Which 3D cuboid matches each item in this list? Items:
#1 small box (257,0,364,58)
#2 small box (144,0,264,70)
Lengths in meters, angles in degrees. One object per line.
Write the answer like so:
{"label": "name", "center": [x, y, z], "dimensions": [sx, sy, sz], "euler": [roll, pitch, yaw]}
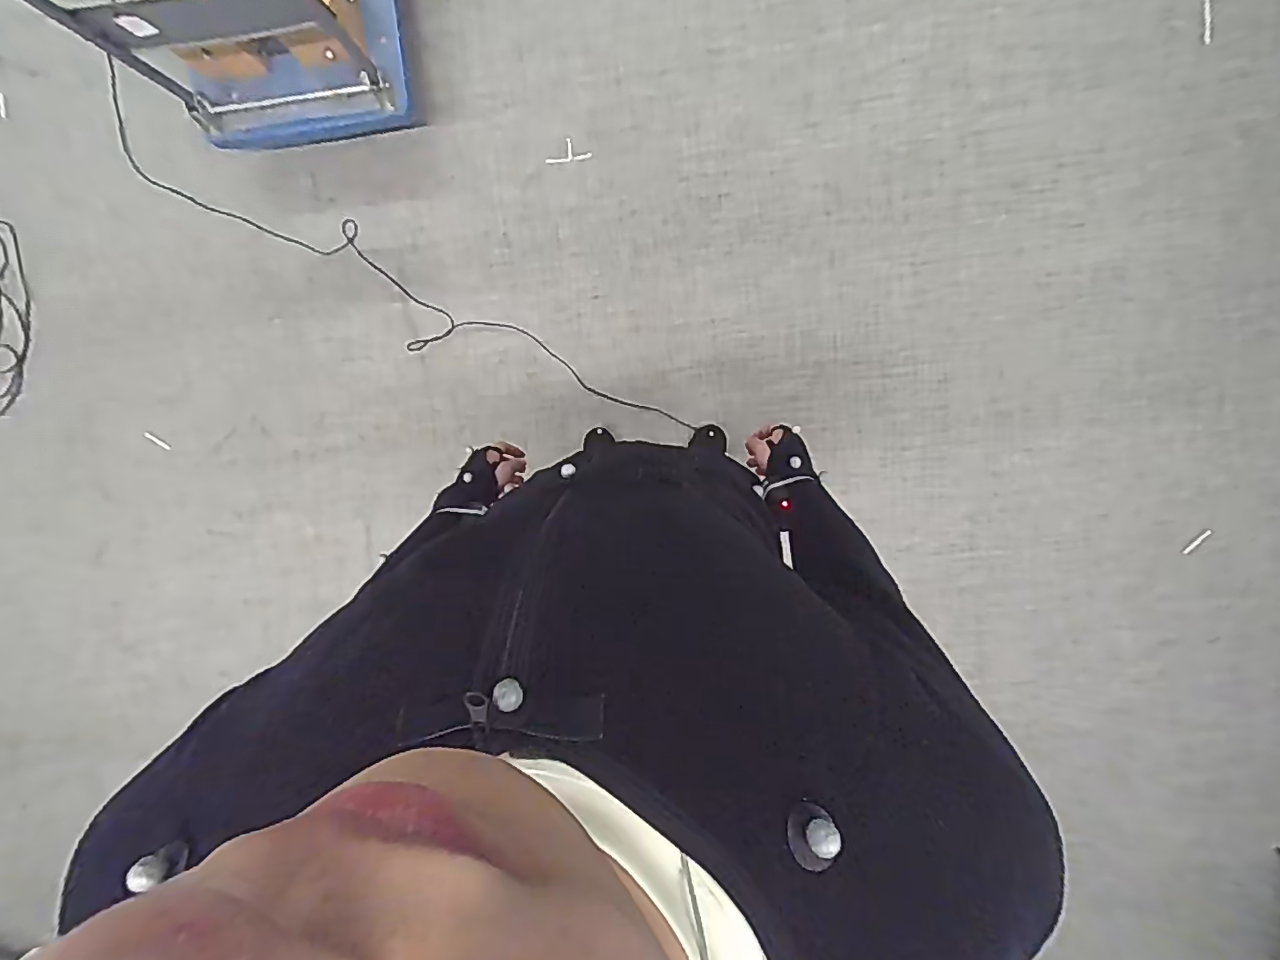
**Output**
{"label": "small box", "center": [-0.788, -1.161, 1.295], "dimensions": [0.179, 0.176, 0.168], "euler": [-7, 96, 3]}
{"label": "small box", "center": [-1.050, -1.138, 1.312], "dimensions": [0.179, 0.176, 0.168], "euler": [-2, 96, 4]}
